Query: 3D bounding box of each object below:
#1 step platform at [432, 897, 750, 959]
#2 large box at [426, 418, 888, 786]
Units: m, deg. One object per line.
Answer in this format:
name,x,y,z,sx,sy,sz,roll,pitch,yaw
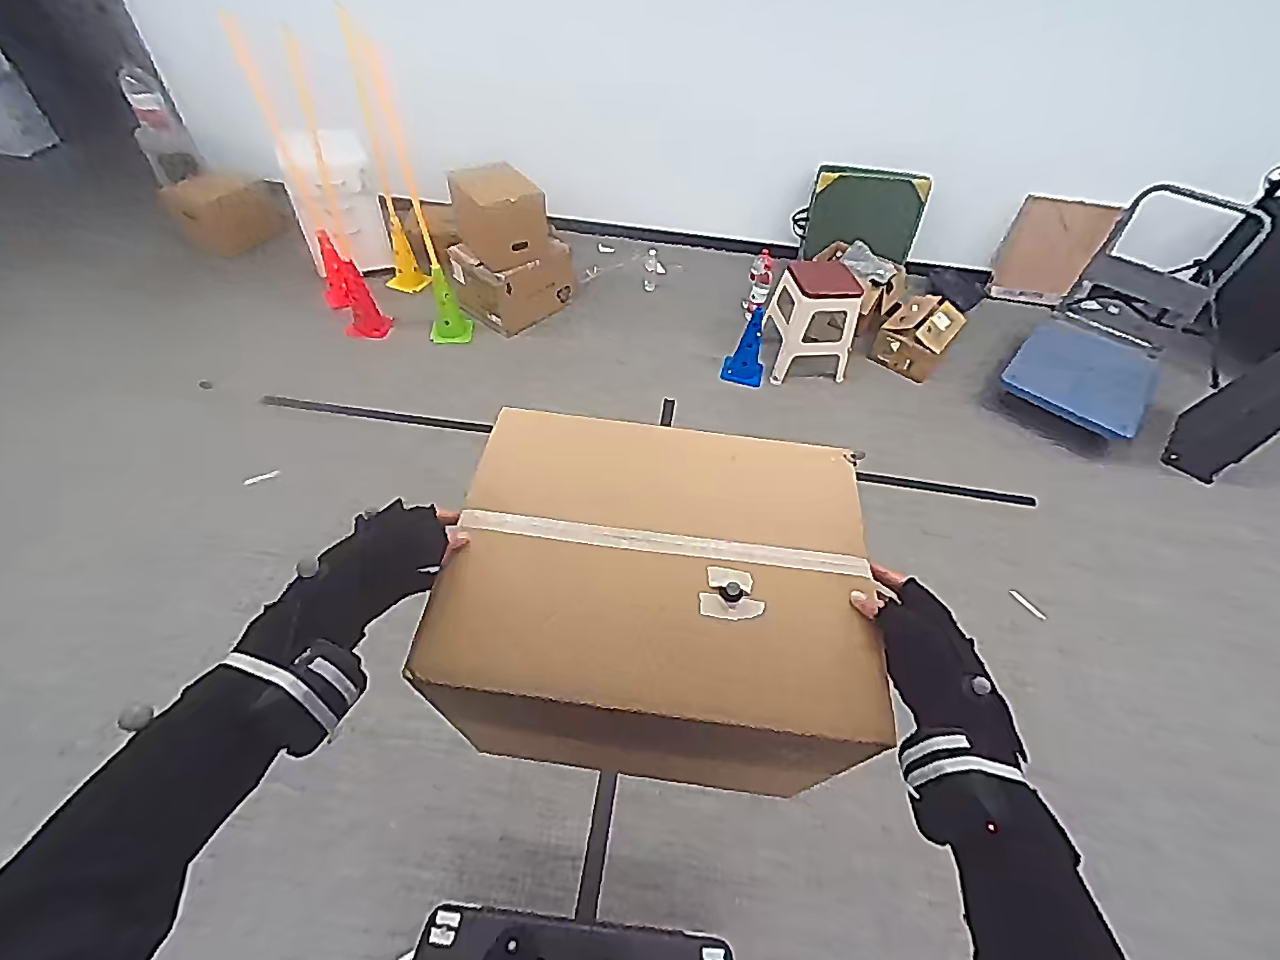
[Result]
step platform,-0.105,1.091,1.137,0.684,0.204,0.286,7,49,0
large box,0.018,0.158,0.662,0.408,0.320,0.320,7,54,1
